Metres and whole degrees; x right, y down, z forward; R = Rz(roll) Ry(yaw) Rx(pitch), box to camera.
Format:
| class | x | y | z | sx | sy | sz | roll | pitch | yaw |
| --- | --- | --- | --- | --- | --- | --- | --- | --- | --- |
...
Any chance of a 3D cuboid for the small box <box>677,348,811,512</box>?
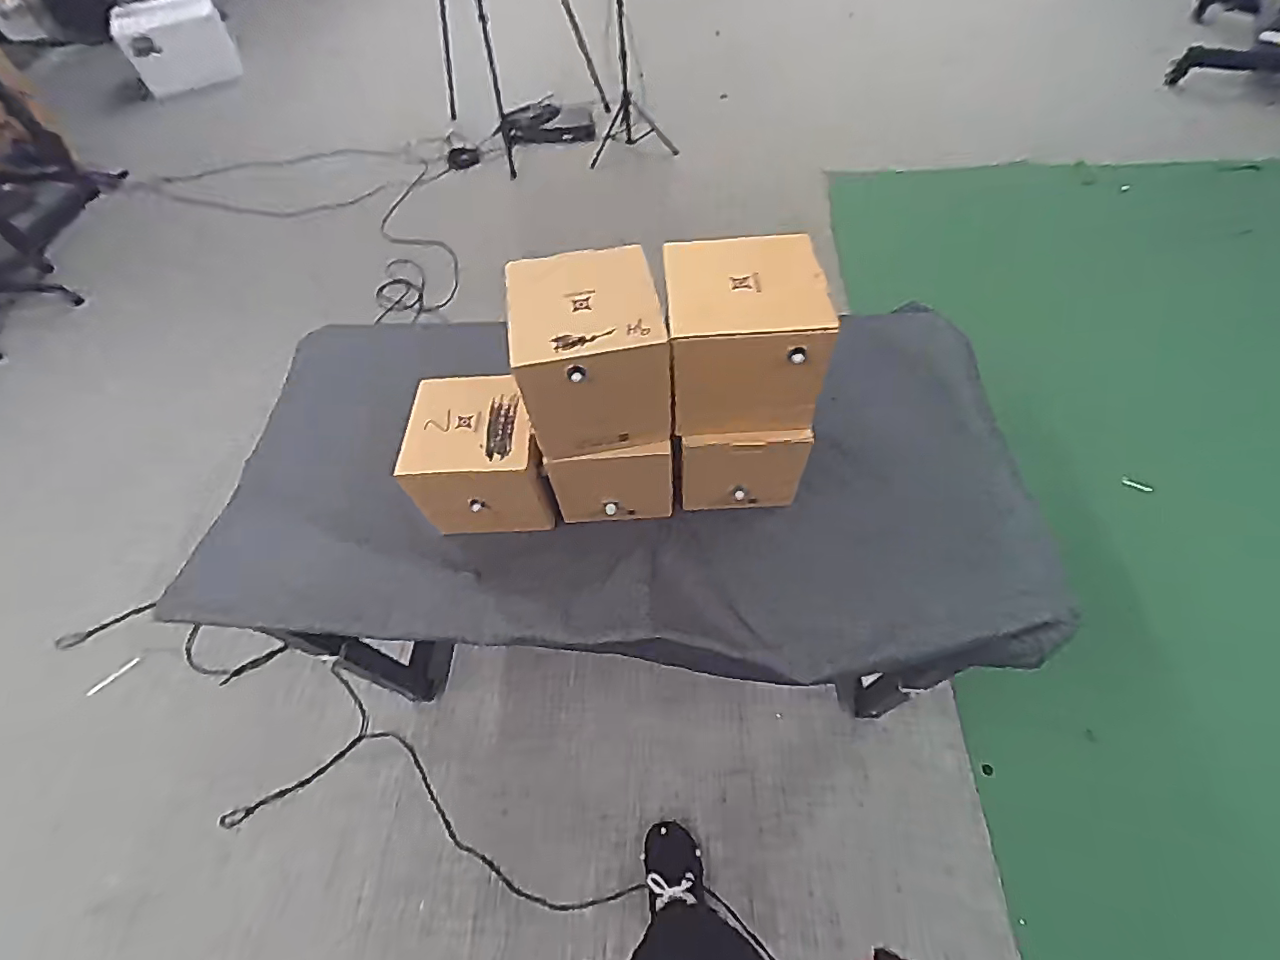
| class | x | y | z | sx | sy | sz | roll | pitch | yaw |
| --- | --- | --- | --- | --- | --- | --- | --- | --- | --- |
| small box | 0.140 | -0.070 | 0.796 | 0.168 | 0.176 | 0.179 | -3 | 57 | 3 |
